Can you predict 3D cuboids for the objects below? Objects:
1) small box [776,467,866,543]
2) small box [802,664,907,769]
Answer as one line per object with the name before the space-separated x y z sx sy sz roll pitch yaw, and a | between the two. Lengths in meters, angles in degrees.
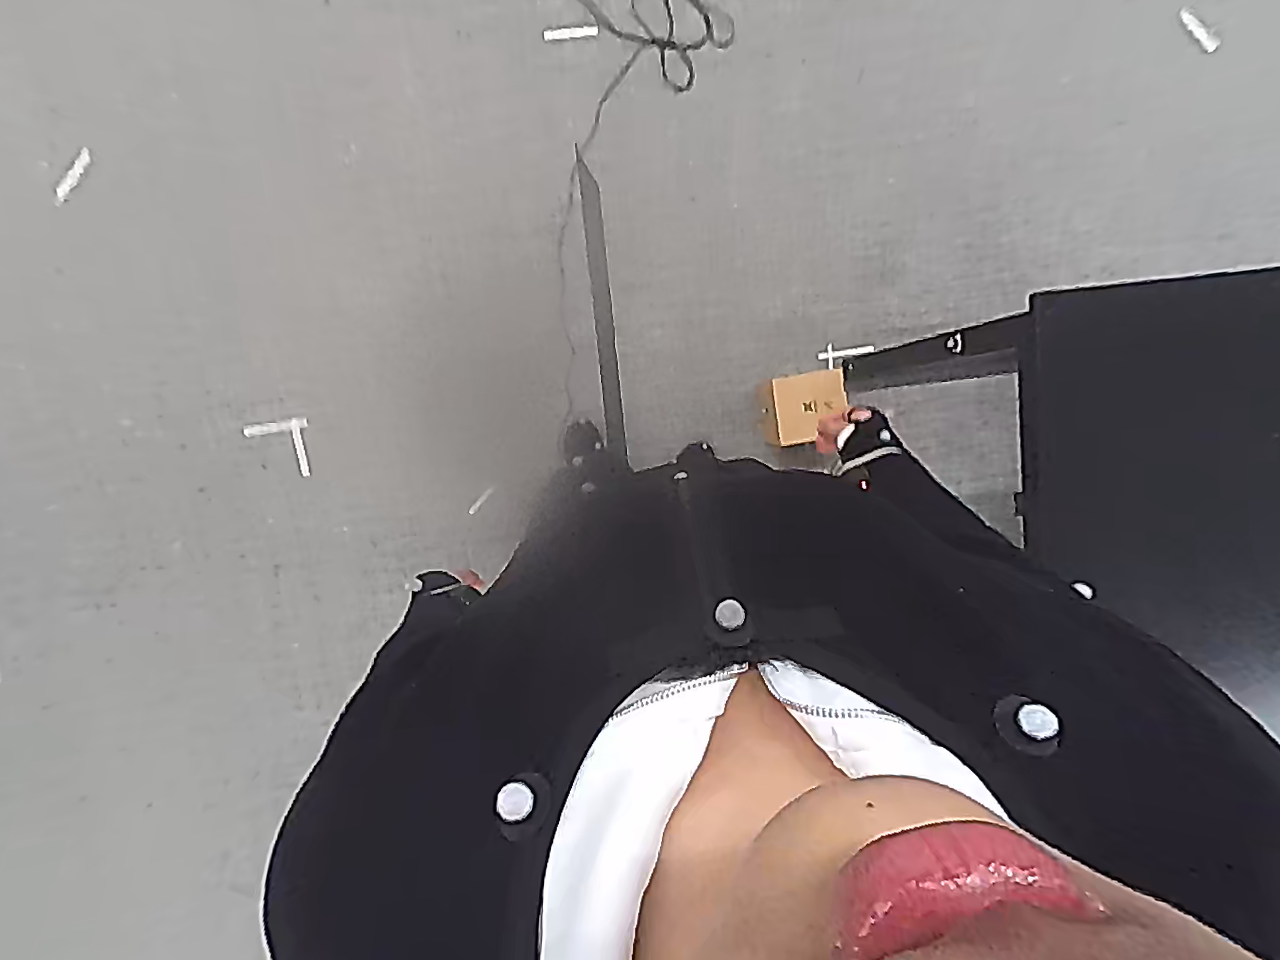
small box | 0.474 0.060 1.431 0.179 0.176 0.168 -8 96 1
small box | 0.586 0.643 1.497 0.179 0.176 0.168 37 94 -5
